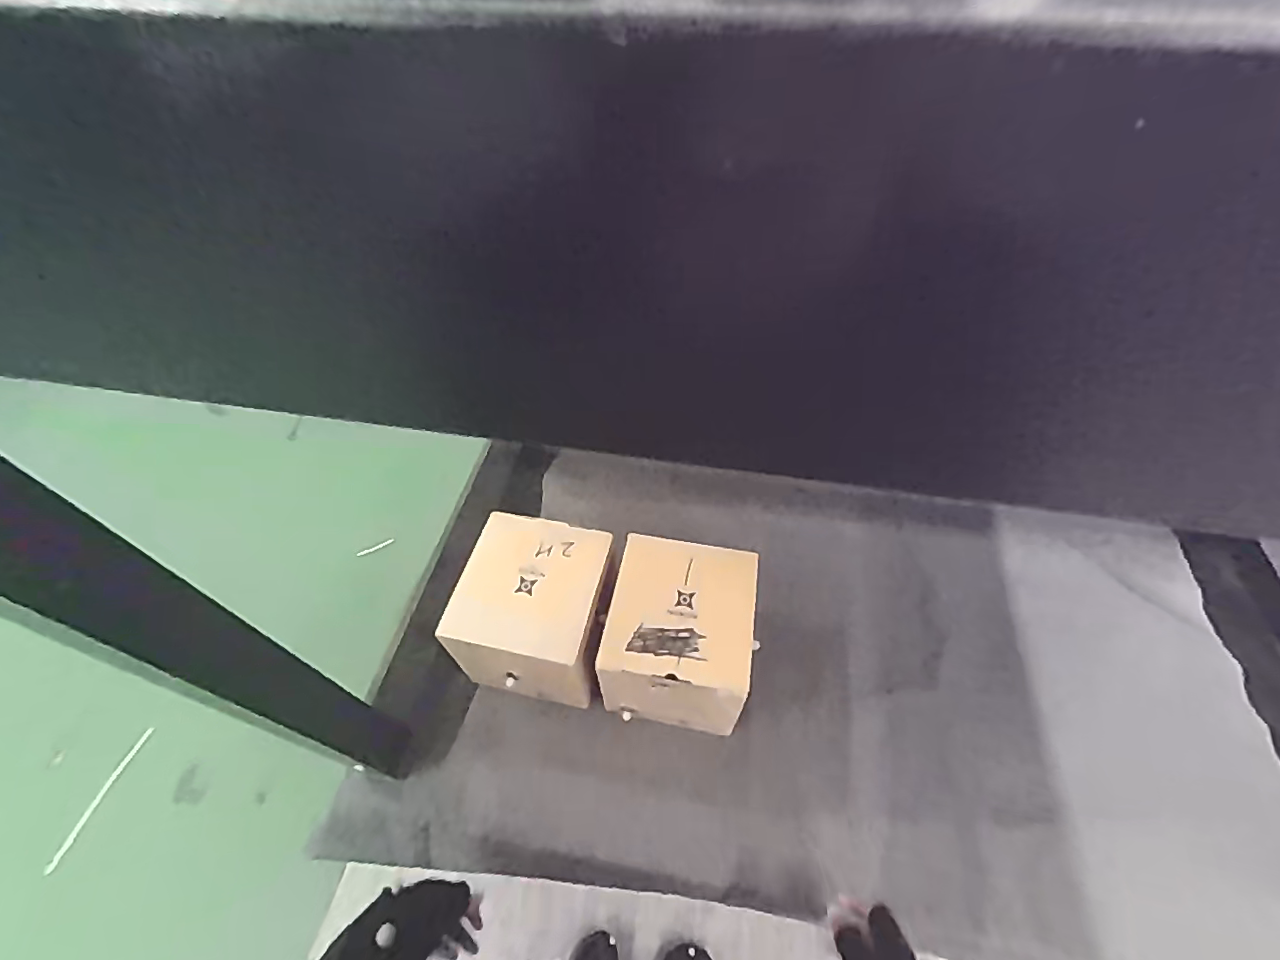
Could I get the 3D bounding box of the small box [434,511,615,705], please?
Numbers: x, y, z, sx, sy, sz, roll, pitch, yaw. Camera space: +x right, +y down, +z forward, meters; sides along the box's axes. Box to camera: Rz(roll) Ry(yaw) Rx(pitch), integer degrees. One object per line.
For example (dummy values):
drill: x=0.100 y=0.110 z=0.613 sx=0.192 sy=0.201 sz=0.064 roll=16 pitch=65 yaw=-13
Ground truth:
small box: x=-0.131 y=0.169 z=0.698 sx=0.168 sy=0.176 sz=0.179 roll=10 pitch=53 yaw=8
